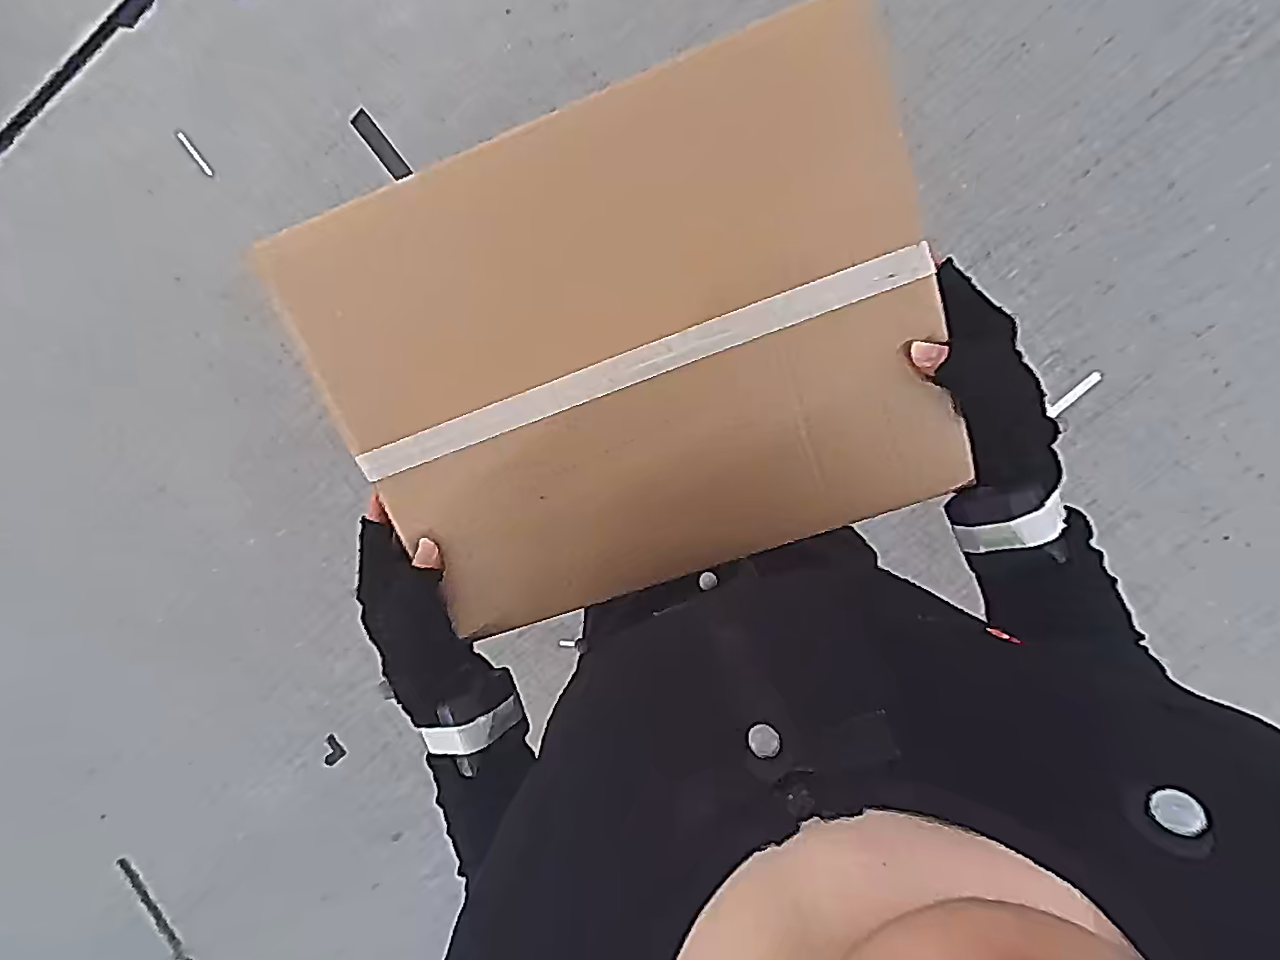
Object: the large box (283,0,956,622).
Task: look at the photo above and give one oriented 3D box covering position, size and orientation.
[{"bbox_3d":[-0.003,-0.125,0.518,0.408,0.320,0.320,-18,106,7],"label":"large box"}]
